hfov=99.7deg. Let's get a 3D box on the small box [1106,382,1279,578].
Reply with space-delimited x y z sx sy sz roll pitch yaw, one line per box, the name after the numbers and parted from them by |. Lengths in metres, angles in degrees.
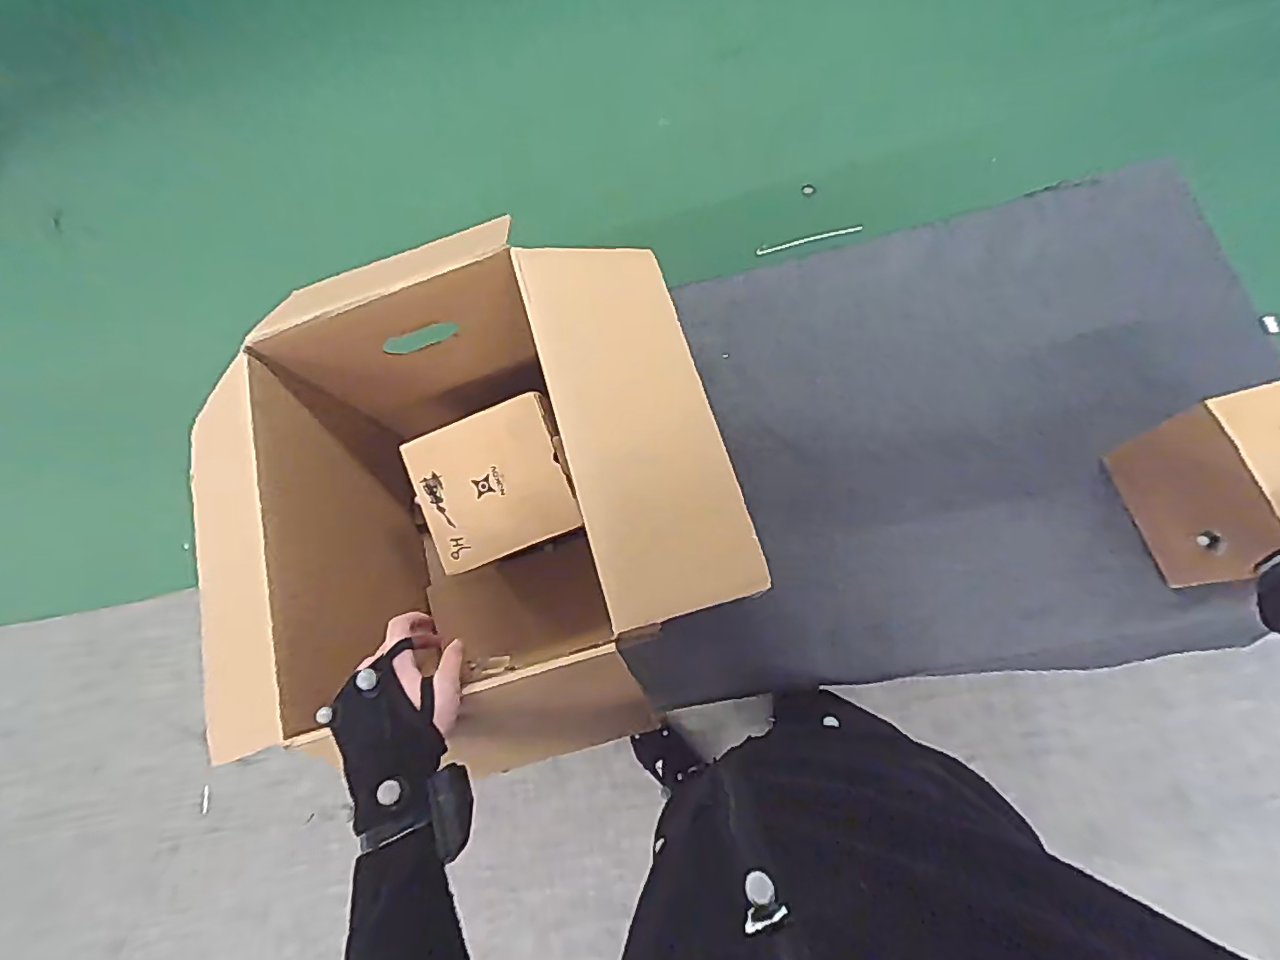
0.676 0.003 0.586 0.168 0.176 0.179 -15 71 4 | small box
